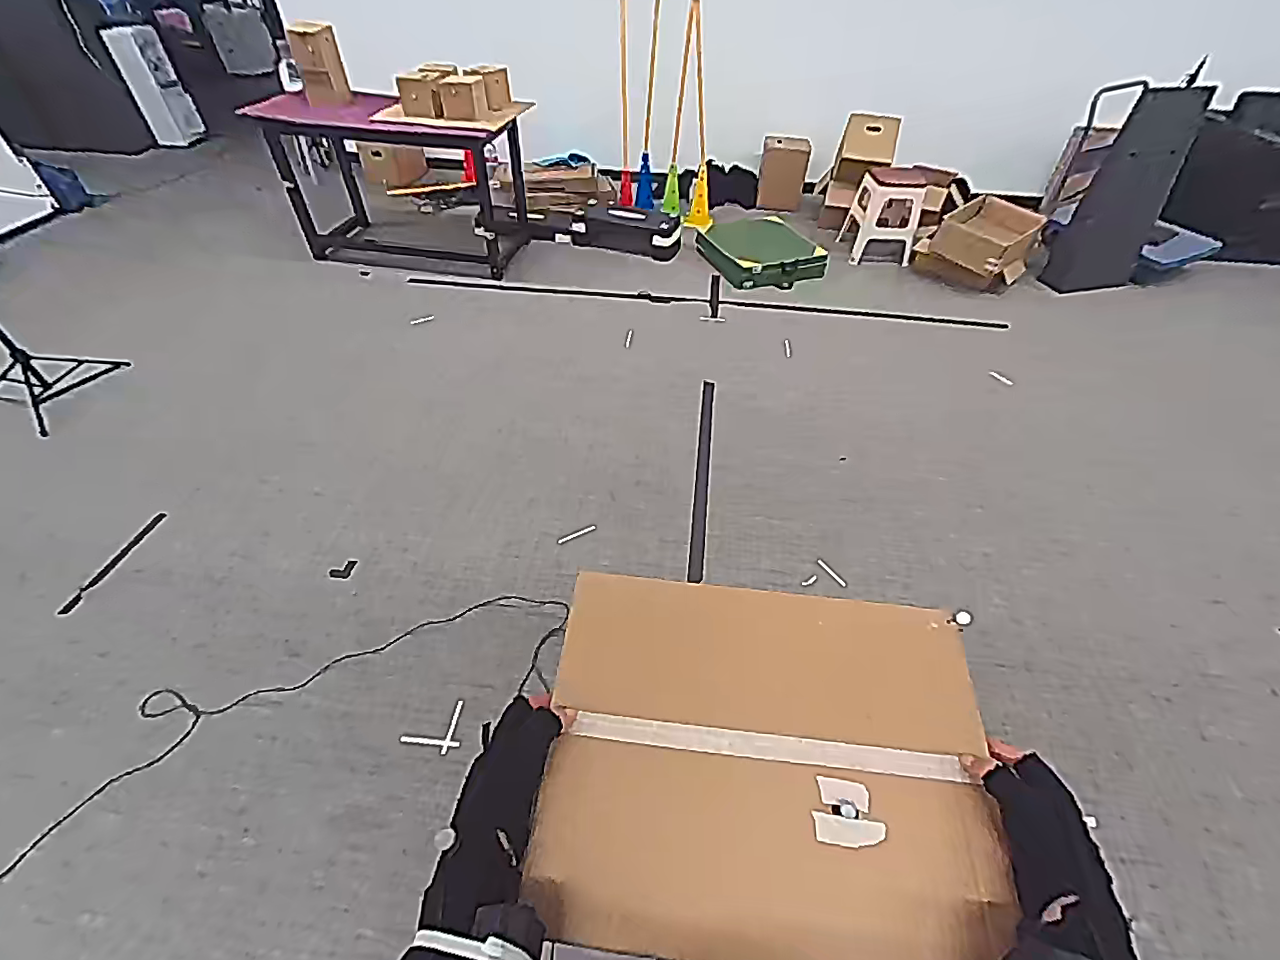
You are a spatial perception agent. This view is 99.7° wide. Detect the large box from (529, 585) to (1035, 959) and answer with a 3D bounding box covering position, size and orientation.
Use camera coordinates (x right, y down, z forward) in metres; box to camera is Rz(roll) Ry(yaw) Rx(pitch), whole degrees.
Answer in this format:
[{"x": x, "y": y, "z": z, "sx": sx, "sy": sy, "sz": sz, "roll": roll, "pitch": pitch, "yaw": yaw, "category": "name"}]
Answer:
[{"x": 0.119, "y": 0.344, "z": 0.624, "sx": 0.408, "sy": 0.320, "sz": 0.320, "roll": 5, "pitch": 54, "yaw": 4, "category": "large box"}]
